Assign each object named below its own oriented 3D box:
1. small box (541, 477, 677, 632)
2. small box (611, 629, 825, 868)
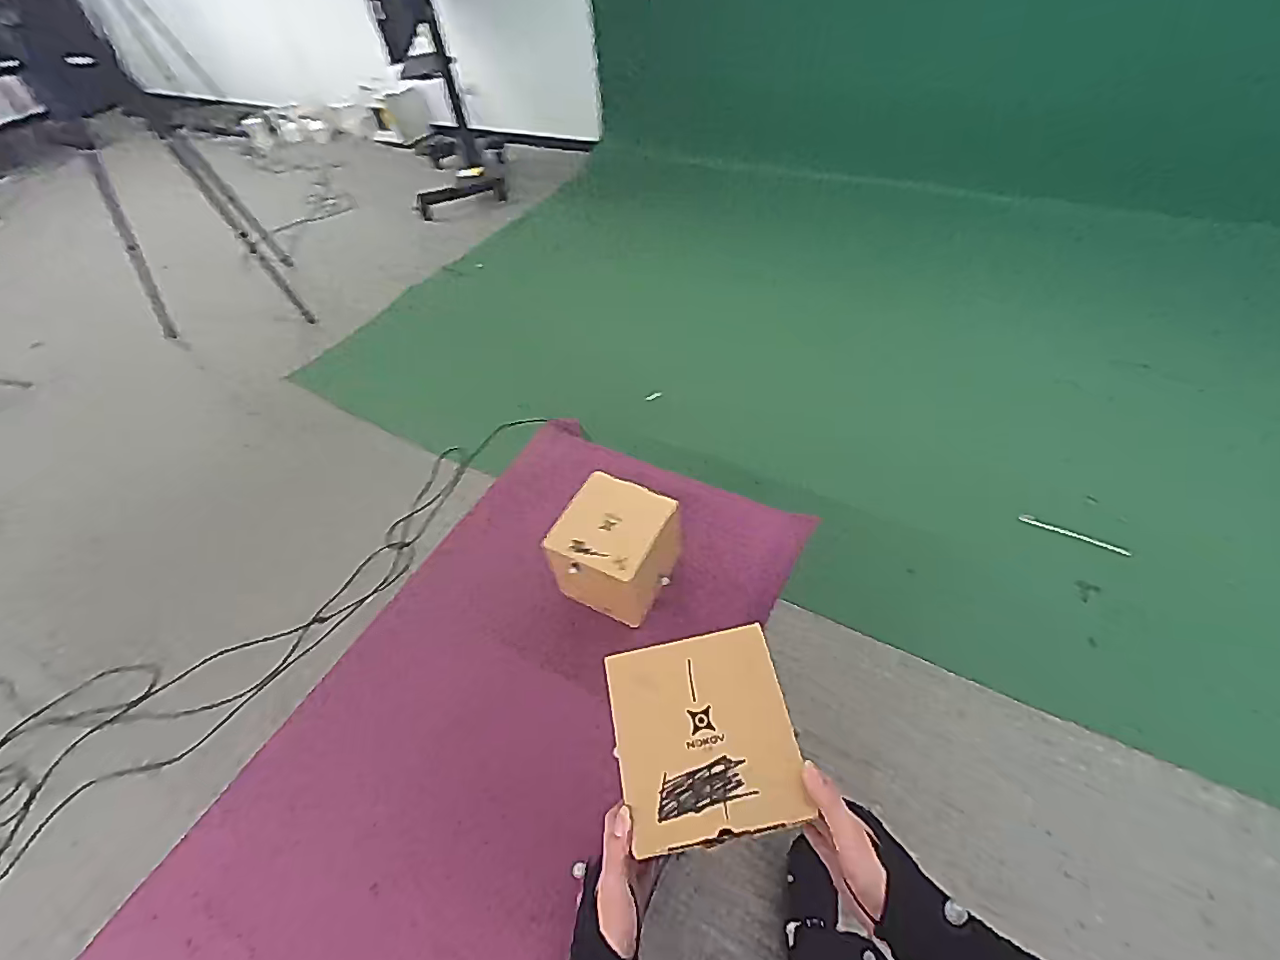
[{"bbox_3d":[-0.045,0.131,0.946,0.168,0.176,0.179,20,54,21],"label":"small box"},{"bbox_3d":[0.074,0.279,0.562,0.168,0.176,0.179,-12,55,0],"label":"small box"}]
